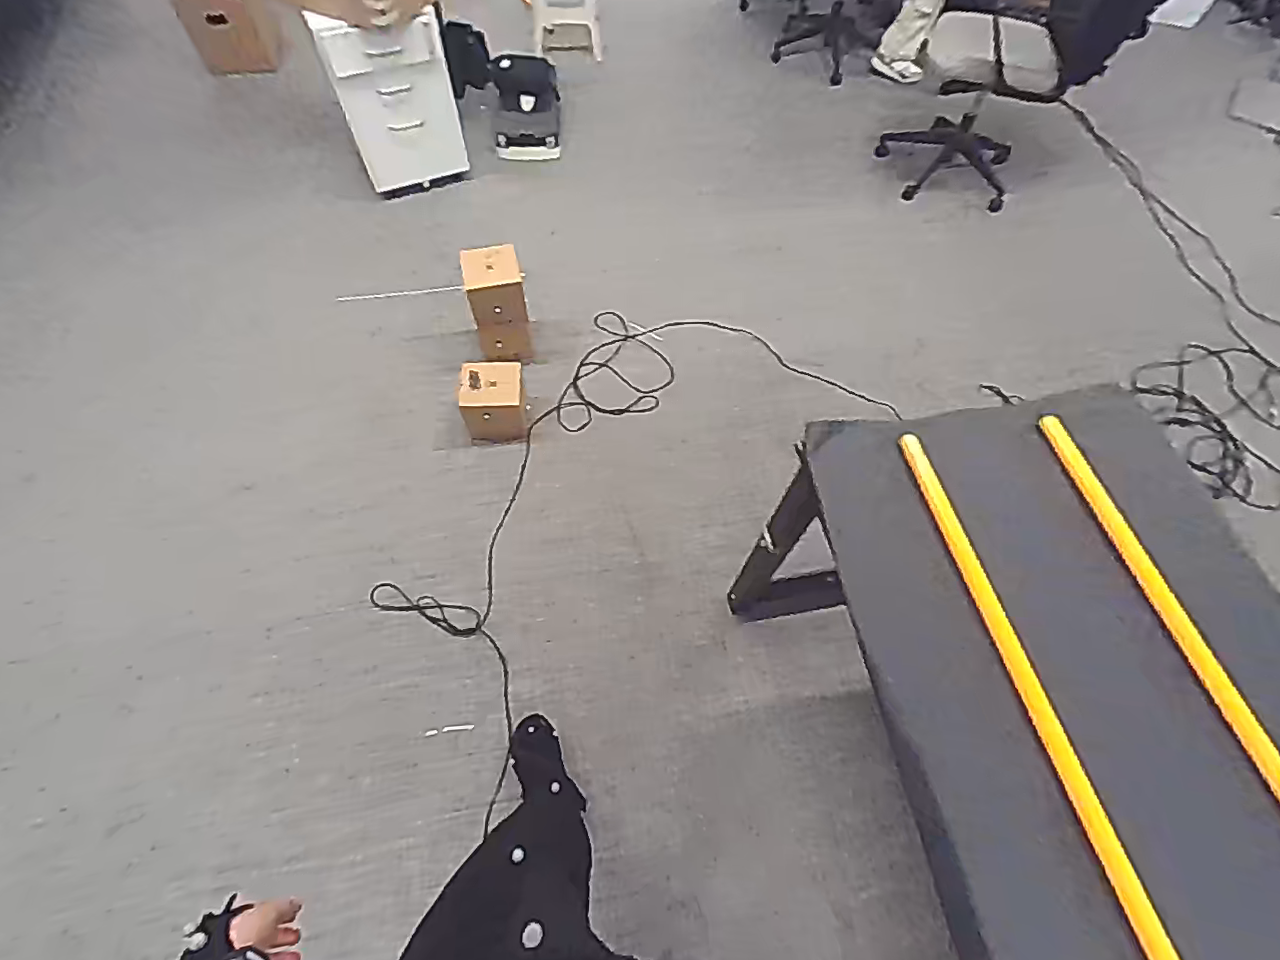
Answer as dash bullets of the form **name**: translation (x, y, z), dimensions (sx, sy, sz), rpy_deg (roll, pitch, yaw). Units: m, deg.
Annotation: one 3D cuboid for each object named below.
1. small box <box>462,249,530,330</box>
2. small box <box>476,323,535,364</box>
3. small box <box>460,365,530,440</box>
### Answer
- **small box**: translation (-0.447, -0.587, 1.691), dimensions (0.168, 0.176, 0.179), rpy_deg (-12, 61, -9)
- **small box**: translation (-0.459, -0.511, 1.837), dimensions (0.168, 0.176, 0.179), rpy_deg (-11, 61, -8)
- **small box**: translation (-0.445, -0.237, 1.679), dimensions (0.179, 0.176, 0.168), rpy_deg (-2, 60, -5)
